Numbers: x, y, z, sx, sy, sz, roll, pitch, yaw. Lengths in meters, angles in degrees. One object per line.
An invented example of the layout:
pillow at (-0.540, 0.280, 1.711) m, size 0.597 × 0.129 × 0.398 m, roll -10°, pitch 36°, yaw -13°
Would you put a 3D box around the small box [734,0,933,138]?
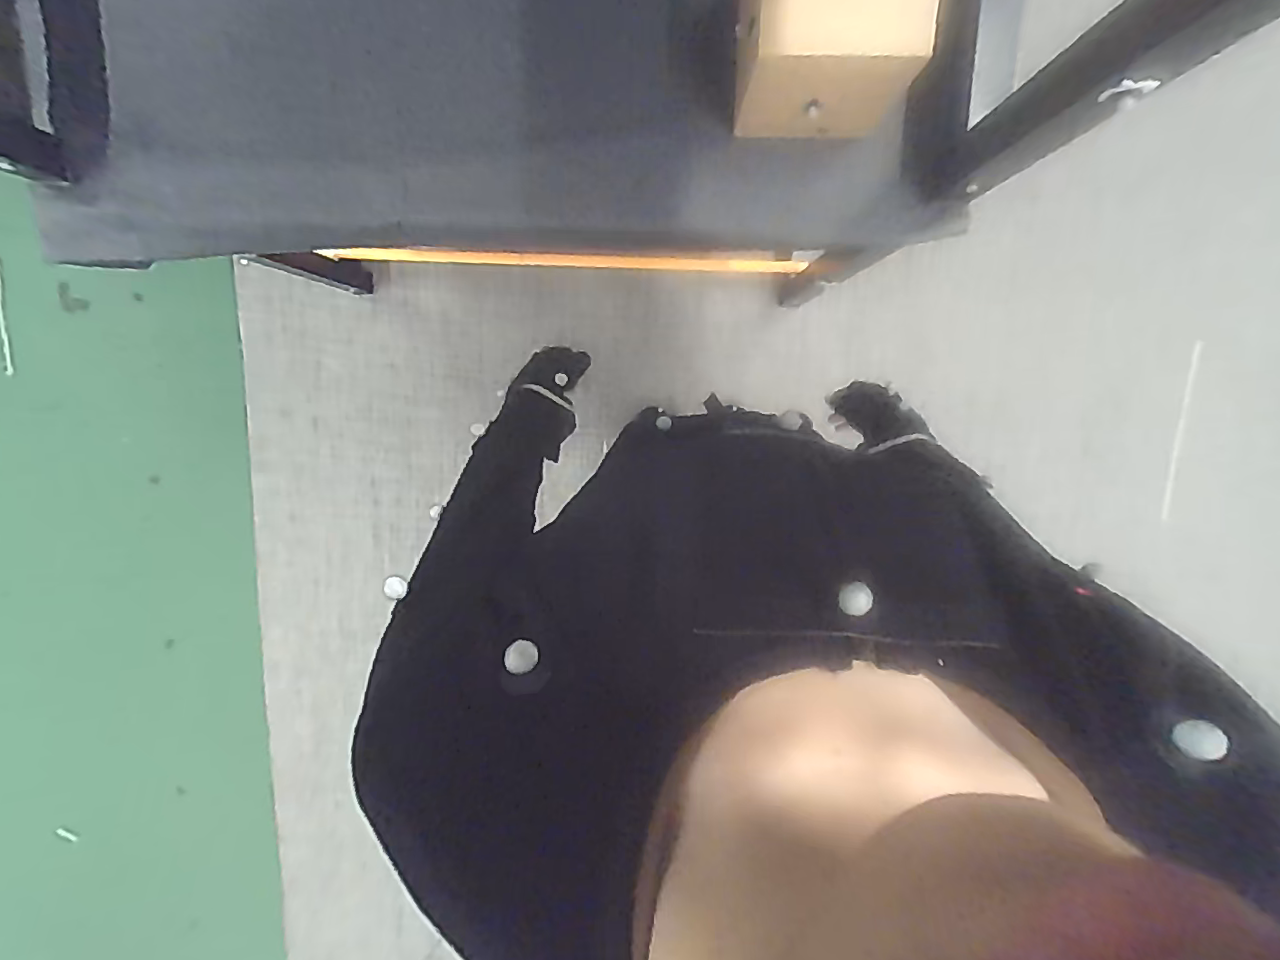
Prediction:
small box at (0.197, -0.496, 0.581) m, size 0.168 × 0.176 × 0.179 m, roll 2°, pitch 98°, yaw 1°
